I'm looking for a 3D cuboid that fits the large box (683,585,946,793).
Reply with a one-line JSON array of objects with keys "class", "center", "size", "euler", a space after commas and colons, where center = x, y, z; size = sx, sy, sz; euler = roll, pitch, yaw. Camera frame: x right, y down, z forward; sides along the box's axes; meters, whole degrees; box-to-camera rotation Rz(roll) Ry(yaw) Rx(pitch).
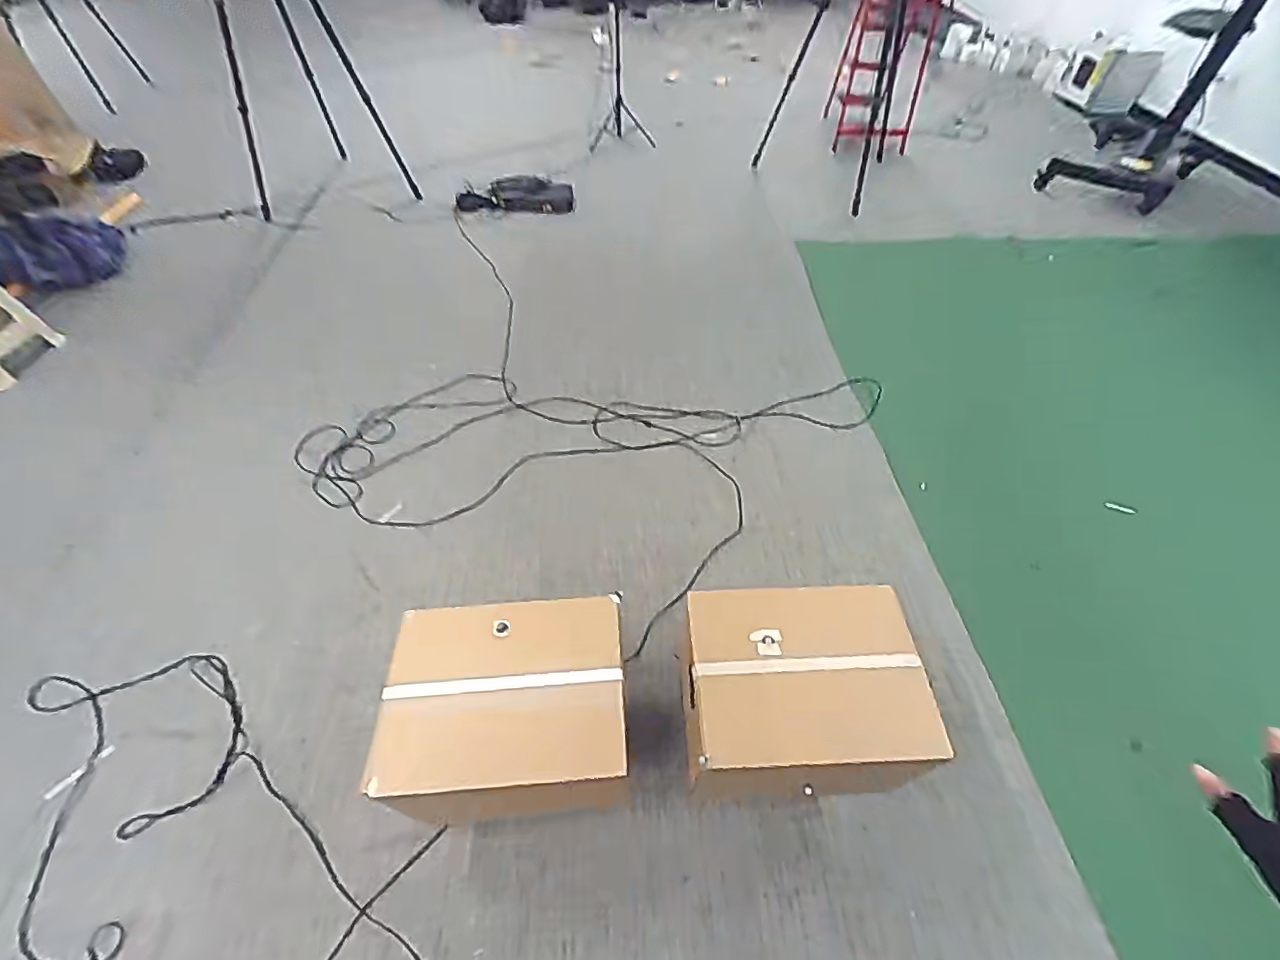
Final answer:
[{"class": "large box", "center": [0.305, 0.428, 1.090], "size": [0.408, 0.320, 0.320], "euler": [-2, 51, -1]}]
